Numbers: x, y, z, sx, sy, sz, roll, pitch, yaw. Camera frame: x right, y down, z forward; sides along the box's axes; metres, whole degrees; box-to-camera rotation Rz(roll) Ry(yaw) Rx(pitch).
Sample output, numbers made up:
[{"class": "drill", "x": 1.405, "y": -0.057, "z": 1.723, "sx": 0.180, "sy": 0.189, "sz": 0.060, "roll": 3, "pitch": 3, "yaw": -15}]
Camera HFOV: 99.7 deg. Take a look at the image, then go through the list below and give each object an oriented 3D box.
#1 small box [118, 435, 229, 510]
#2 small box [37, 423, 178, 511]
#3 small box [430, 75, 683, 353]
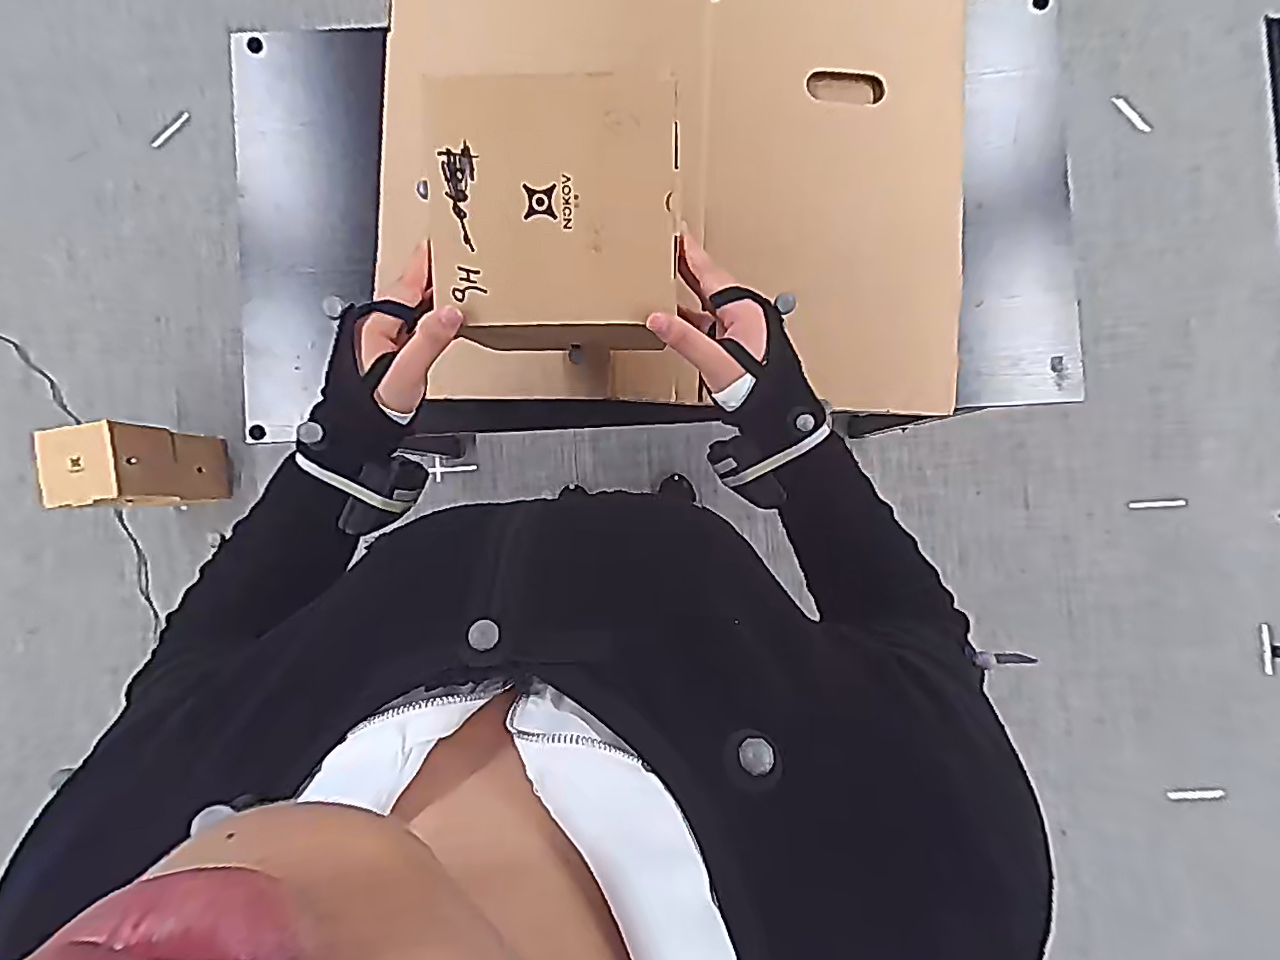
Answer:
[{"class": "small box", "x": -1.236, "y": -0.016, "z": 1.433, "sx": 0.168, "sy": 0.176, "sz": 0.179, "roll": -7, "pitch": 89, "yaw": 0}, {"class": "small box", "x": -1.237, "y": -0.027, "z": 1.271, "sx": 0.168, "sy": 0.176, "sz": 0.179, "roll": -10, "pitch": 88, "yaw": -1}, {"class": "small box", "x": -0.060, "y": -0.204, "z": 0.460, "sx": 0.179, "sy": 0.176, "sz": 0.168, "roll": -1, "pitch": 96, "yaw": -1}]
